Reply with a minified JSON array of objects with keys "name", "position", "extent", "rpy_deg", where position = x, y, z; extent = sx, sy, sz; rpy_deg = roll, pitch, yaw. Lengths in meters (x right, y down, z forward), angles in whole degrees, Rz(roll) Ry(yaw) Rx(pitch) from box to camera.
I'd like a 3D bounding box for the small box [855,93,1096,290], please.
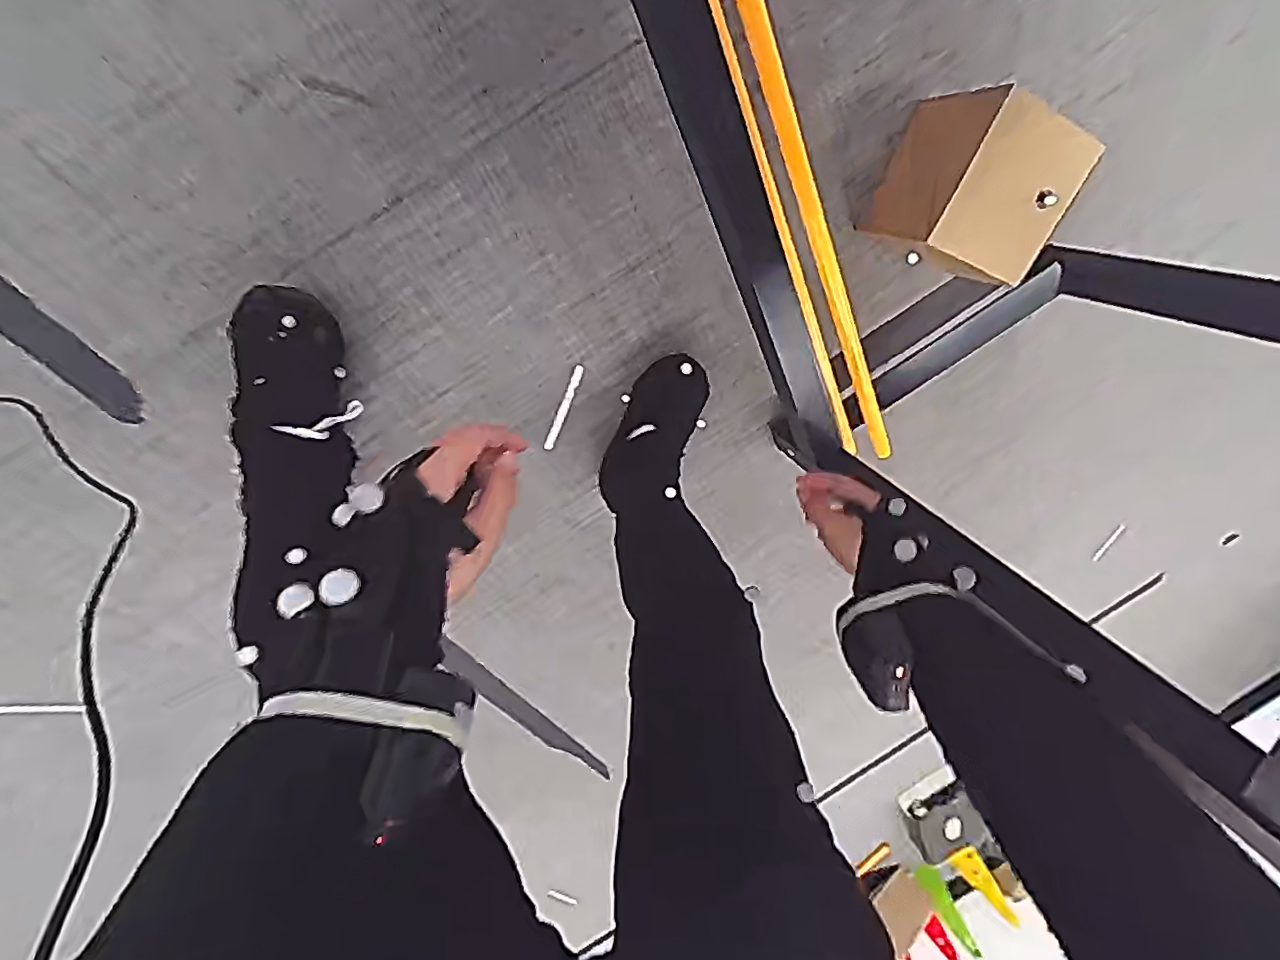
[{"name":"small box","position":[0.432,-0.380,0.724],"extent":[0.176,0.168,0.179],"rpy_deg":[15,114,-20]}]
